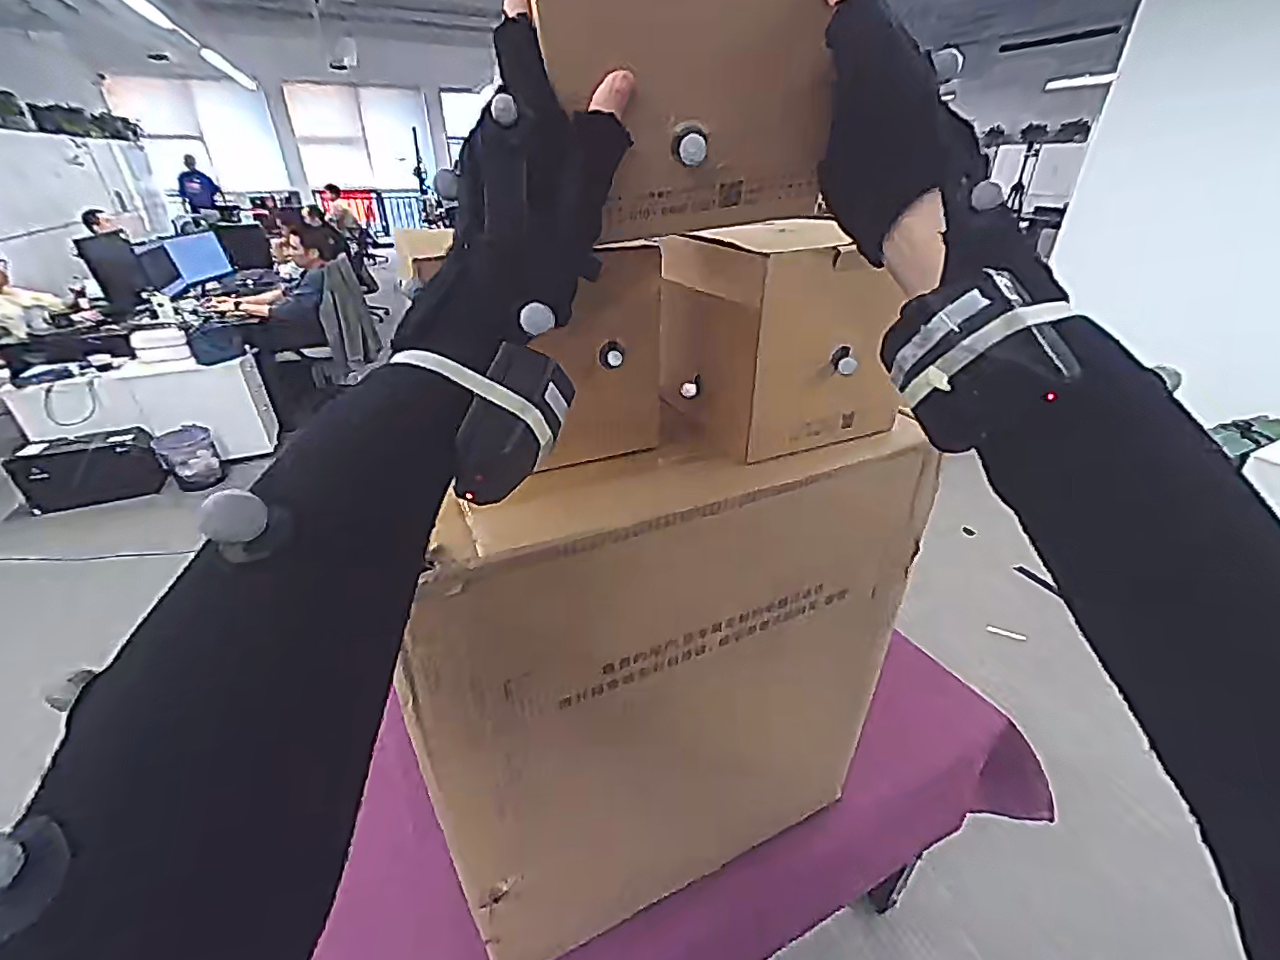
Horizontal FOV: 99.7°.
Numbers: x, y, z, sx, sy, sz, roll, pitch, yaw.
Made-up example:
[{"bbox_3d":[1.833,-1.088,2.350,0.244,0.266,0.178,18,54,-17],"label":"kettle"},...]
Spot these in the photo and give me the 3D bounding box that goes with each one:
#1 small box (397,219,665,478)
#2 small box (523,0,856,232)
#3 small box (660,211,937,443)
[{"bbox_3d":[-0.093,-0.121,0.461,0.179,0.176,0.168,-14,32,-22],"label":"small box"},{"bbox_3d":[0.016,-0.279,0.340,0.168,0.176,0.179,-12,48,-6],"label":"small box"},{"bbox_3d":[0.128,-0.144,0.502,0.168,0.176,0.179,-14,33,-19],"label":"small box"}]
